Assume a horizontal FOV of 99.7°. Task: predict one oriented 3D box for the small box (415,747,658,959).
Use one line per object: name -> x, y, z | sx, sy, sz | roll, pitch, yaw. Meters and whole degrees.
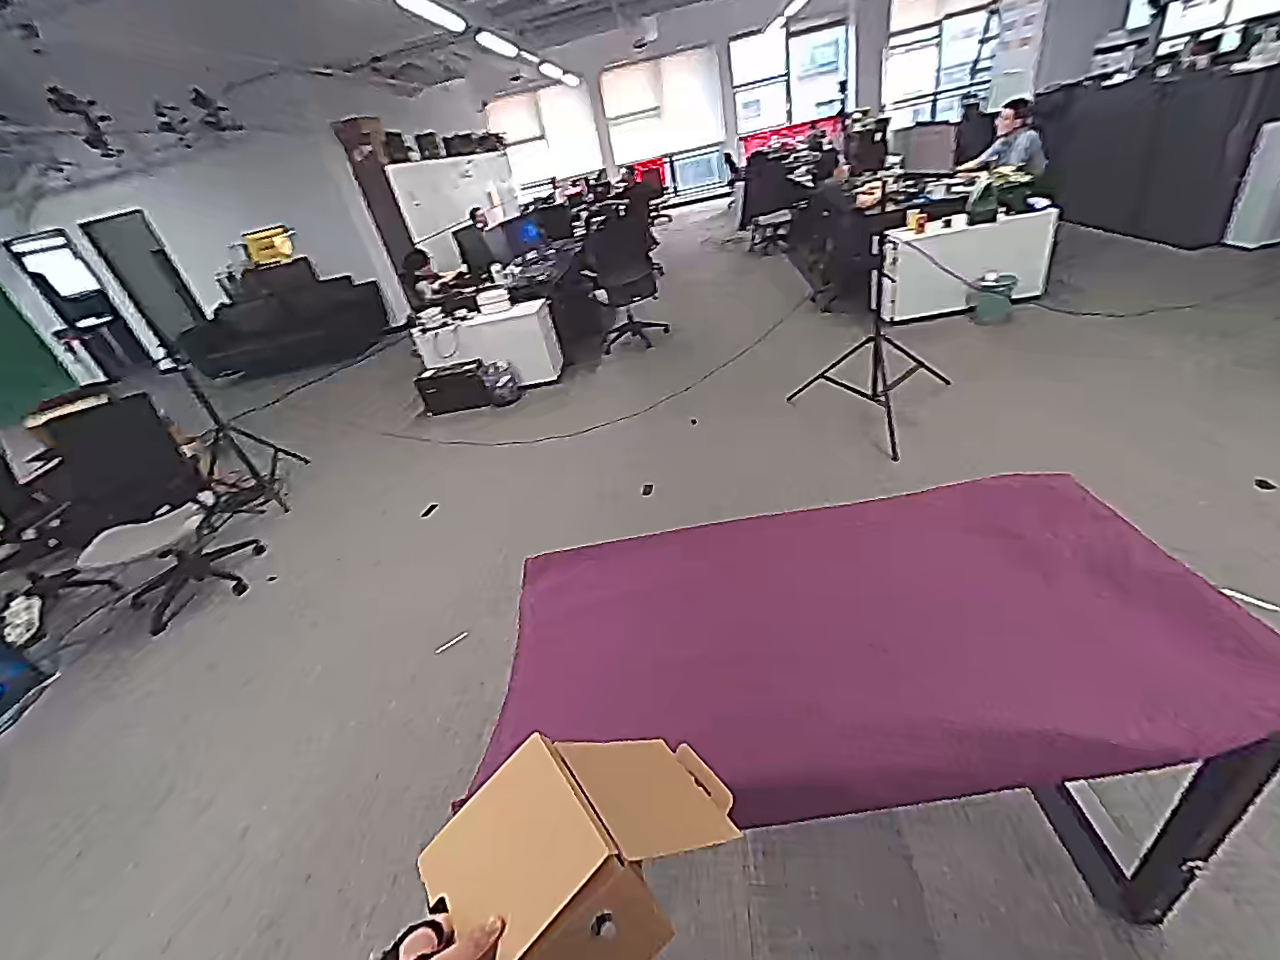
small box -> -0.100, 0.437, 0.570 | 0.179, 0.176, 0.168 | -35, 32, -20
